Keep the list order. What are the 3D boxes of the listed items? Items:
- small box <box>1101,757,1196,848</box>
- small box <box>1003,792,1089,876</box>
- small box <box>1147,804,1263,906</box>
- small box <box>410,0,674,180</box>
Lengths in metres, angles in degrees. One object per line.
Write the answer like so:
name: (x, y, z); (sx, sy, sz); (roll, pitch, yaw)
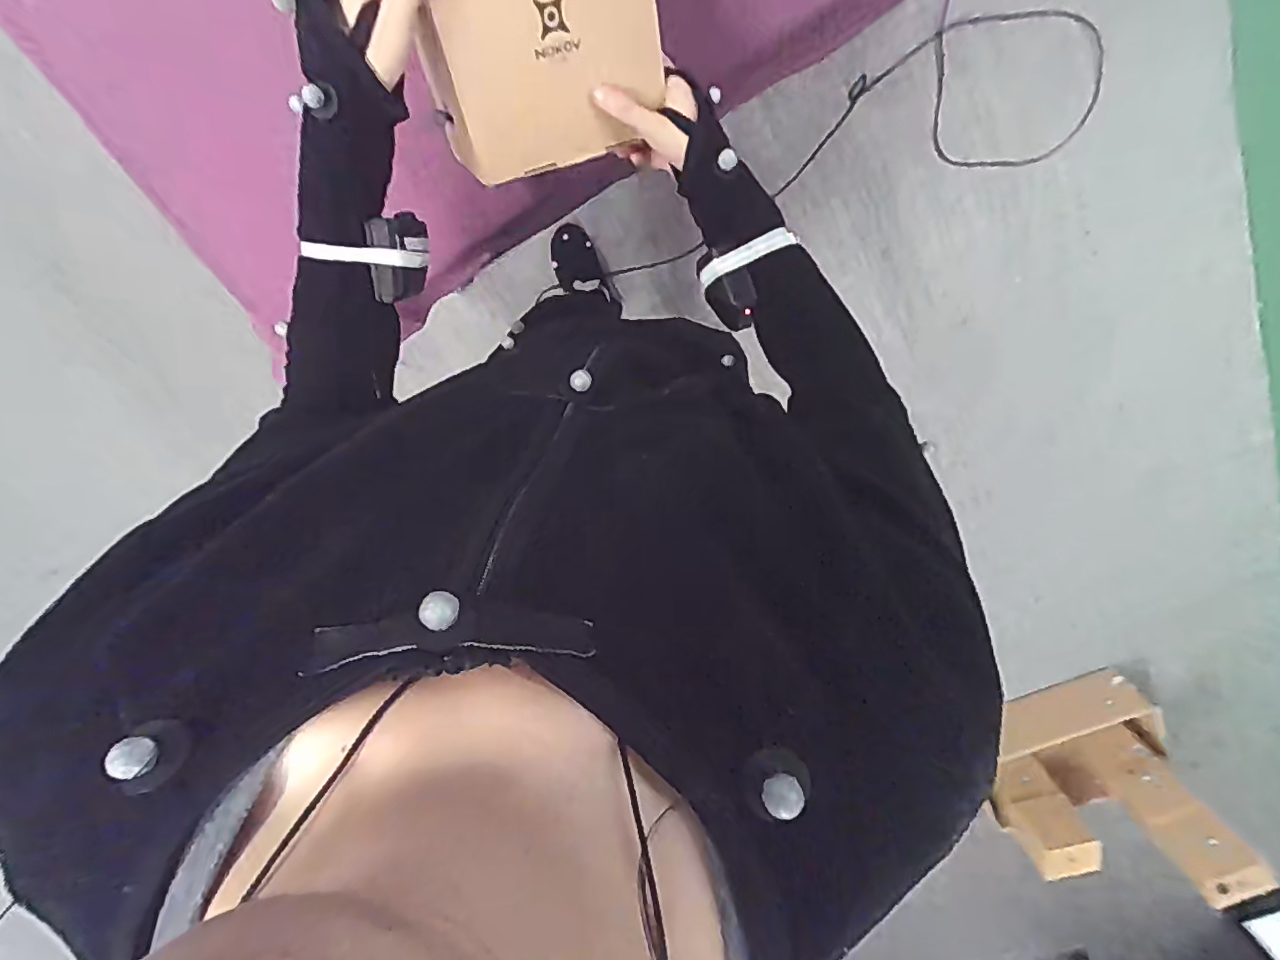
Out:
small box: (1.674, 1.055, 1.775); (0.168, 0.176, 0.179); (-30, 111, 11)
small box: (1.375, 1.197, 1.839); (0.179, 0.176, 0.168); (-16, 113, 6)
small box: (1.684, 1.123, 1.626); (0.179, 0.176, 0.168); (-32, 112, 12)
small box: (-0.087, -0.375, 0.441); (0.168, 0.176, 0.179); (-23, 134, -11)
